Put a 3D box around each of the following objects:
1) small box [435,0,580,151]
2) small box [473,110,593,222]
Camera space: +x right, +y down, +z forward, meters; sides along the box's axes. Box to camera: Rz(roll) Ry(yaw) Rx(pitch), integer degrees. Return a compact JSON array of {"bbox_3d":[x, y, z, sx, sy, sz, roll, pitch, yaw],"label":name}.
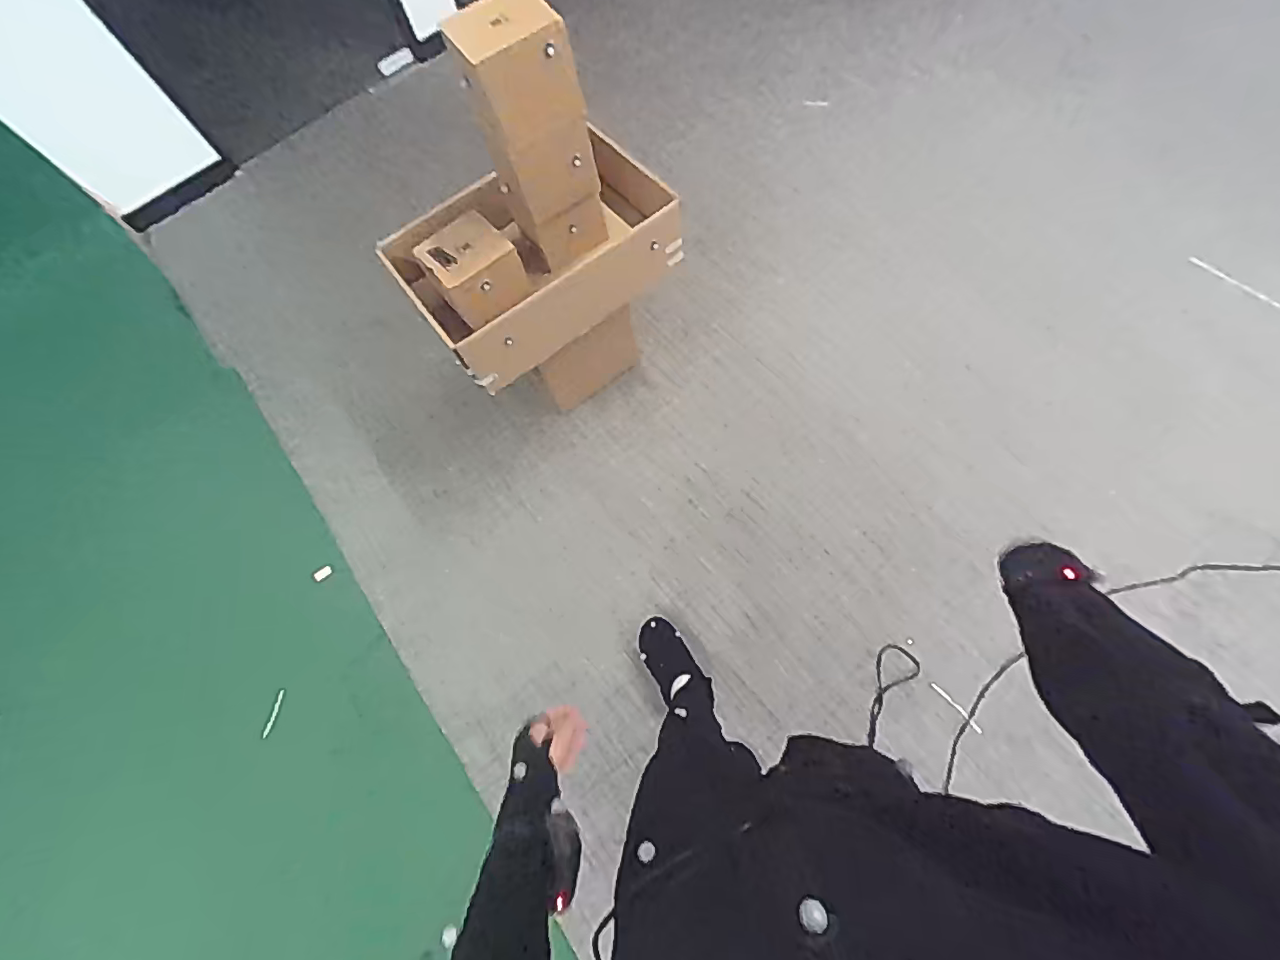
[{"bbox_3d":[-0.236,-0.756,0.999,0.179,0.176,0.168,-33,67,-5],"label":"small box"},{"bbox_3d":[-0.215,-0.695,1.147,0.179,0.176,0.168,-35,68,-5],"label":"small box"}]
